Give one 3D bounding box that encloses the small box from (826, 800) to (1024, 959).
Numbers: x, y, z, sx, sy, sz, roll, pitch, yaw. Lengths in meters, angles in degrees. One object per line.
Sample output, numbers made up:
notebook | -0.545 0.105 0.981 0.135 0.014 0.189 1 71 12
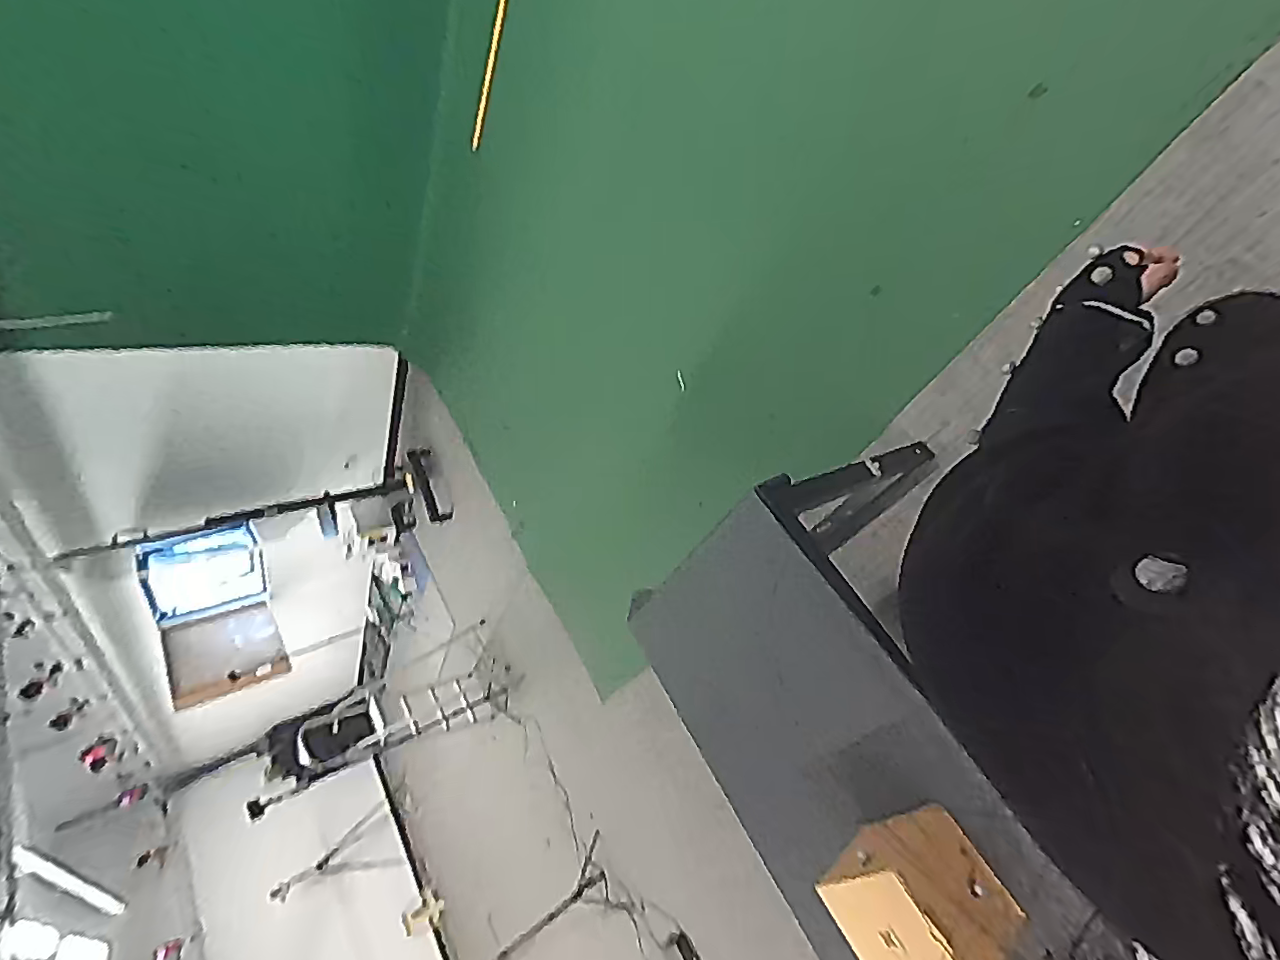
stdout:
small box | 0.429 0.625 0.818 0.168 0.176 0.179 55 136 24
